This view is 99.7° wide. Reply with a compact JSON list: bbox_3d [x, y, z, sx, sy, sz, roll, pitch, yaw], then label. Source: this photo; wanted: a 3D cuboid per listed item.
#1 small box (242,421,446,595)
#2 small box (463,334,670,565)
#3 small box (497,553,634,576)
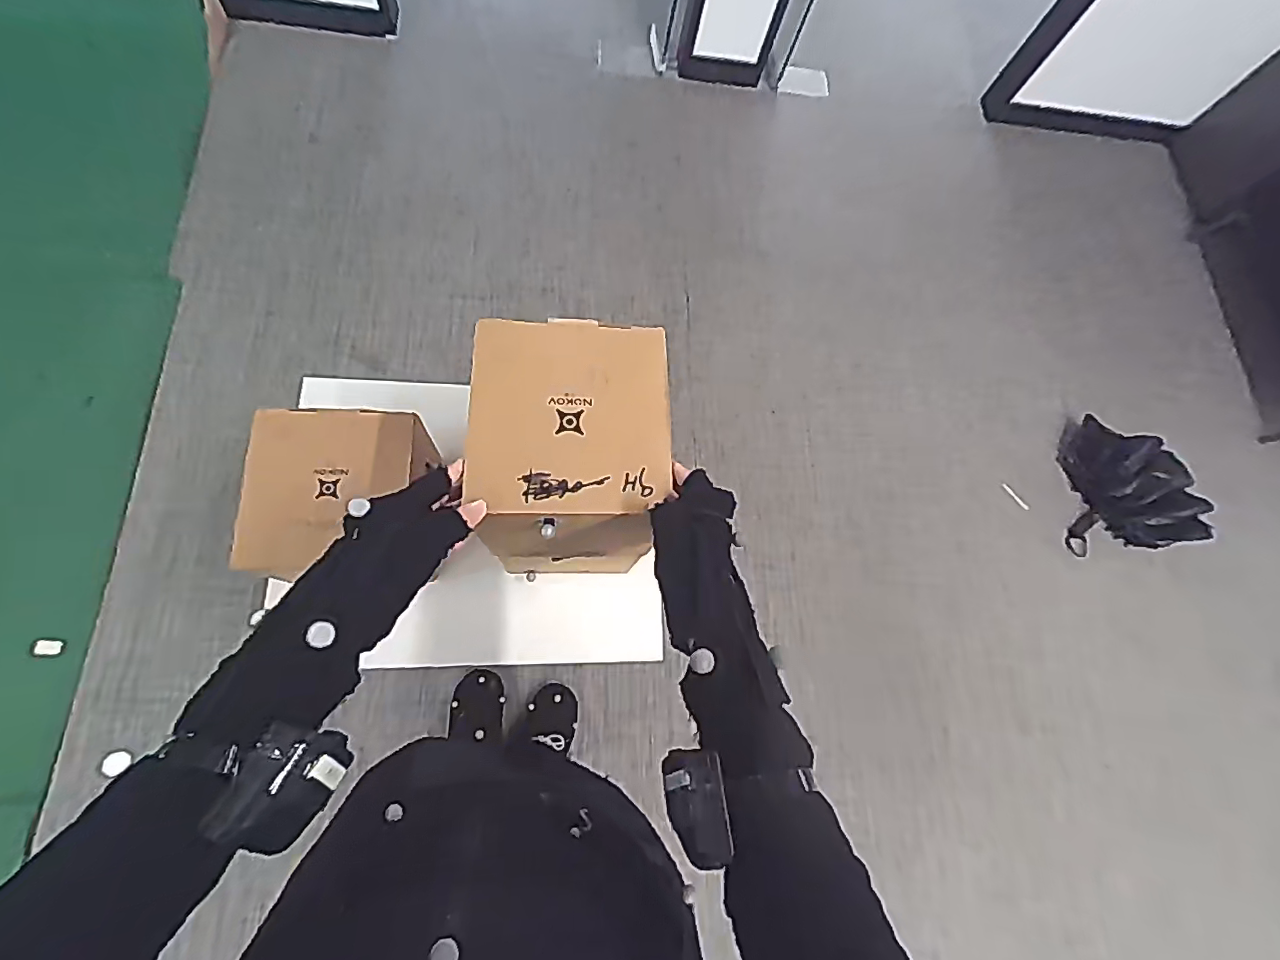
[{"bbox_3d":[-0.338,0.040,0.656,0.168,0.176,0.179,-2,74,-9],"label":"small box"},{"bbox_3d":[-0.067,-0.019,0.528,0.168,0.176,0.179,0,71,-6],"label":"small box"},{"bbox_3d":[-0.087,0.029,0.695,0.168,0.176,0.179,0,72,-8],"label":"small box"}]
